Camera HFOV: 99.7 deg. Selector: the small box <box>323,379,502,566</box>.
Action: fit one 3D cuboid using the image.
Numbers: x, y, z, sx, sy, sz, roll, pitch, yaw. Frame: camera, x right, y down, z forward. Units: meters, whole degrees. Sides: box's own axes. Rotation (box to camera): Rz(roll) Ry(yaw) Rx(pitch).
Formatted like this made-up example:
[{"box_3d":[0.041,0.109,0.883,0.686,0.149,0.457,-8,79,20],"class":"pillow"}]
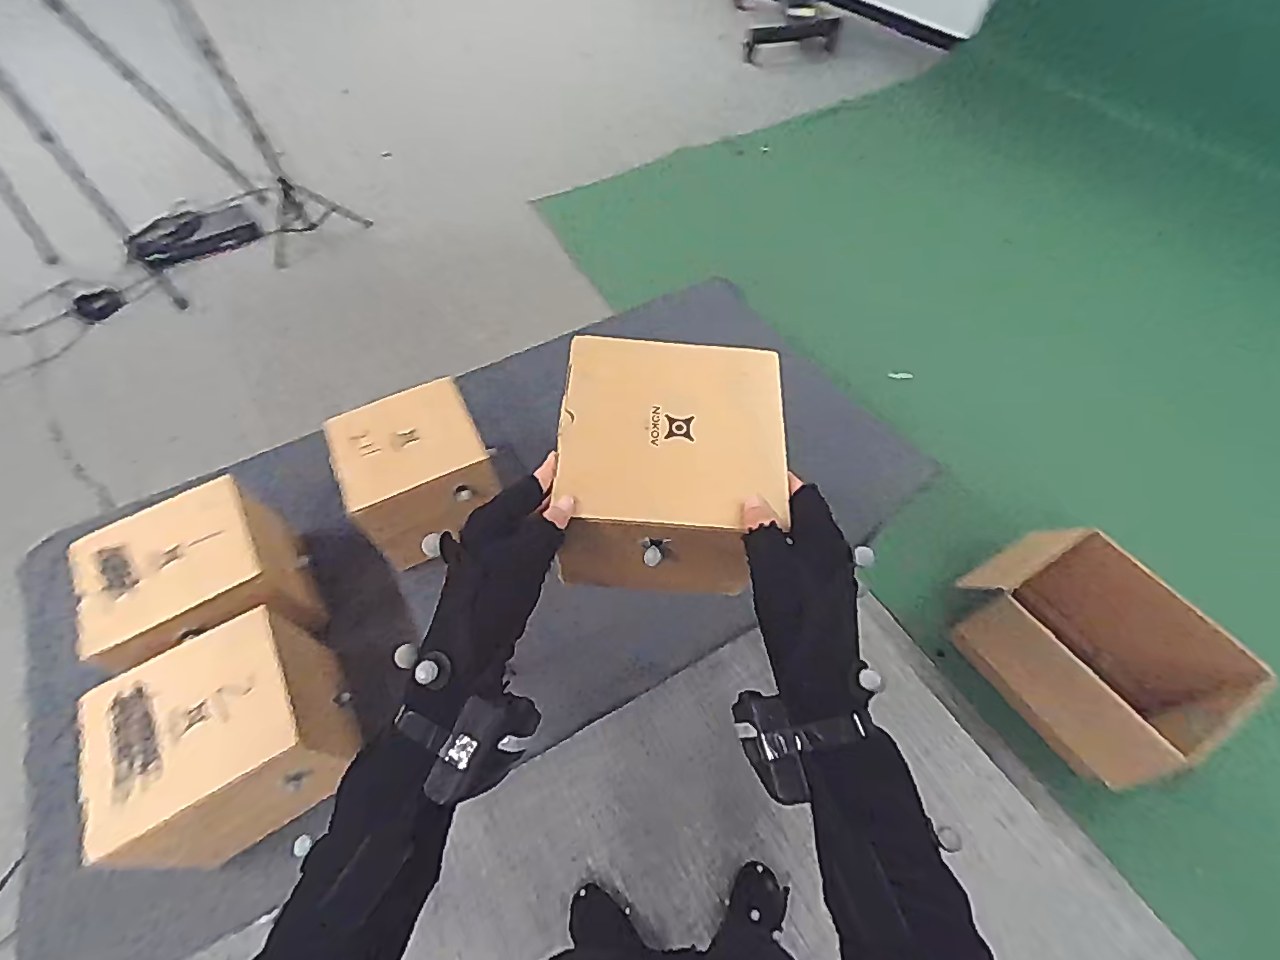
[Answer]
[{"box_3d":[-0.310,-0.006,0.771,0.179,0.176,0.168,-24,59,-14],"class":"small box"}]
